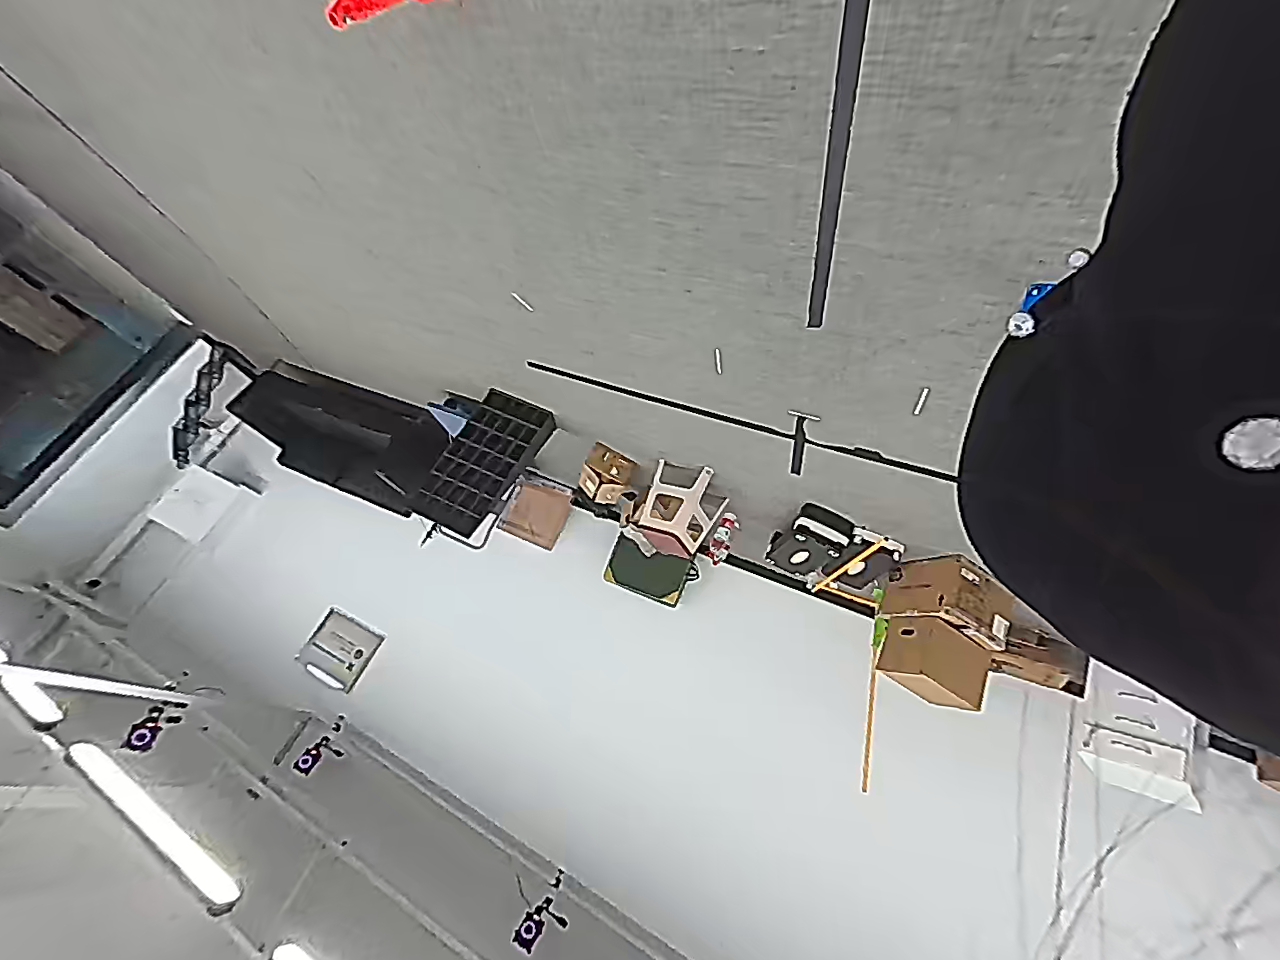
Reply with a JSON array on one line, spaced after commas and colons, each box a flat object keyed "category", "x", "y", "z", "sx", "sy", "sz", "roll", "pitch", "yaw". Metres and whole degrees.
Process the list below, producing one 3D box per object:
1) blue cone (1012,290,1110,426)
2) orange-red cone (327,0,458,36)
[{"category": "blue cone", "x": 1.058, "y": -0.297, "z": 1.400, "sx": 0.192, "sy": 0.380, "sz": 0.193, "roll": 17, "pitch": 156, "yaw": 27}, {"category": "orange-red cone", "x": -0.660, "y": -1.235, "z": 1.365, "sx": 0.198, "sy": 0.360, "sz": 0.199, "roll": 18, "pitch": 158, "yaw": 26}]
